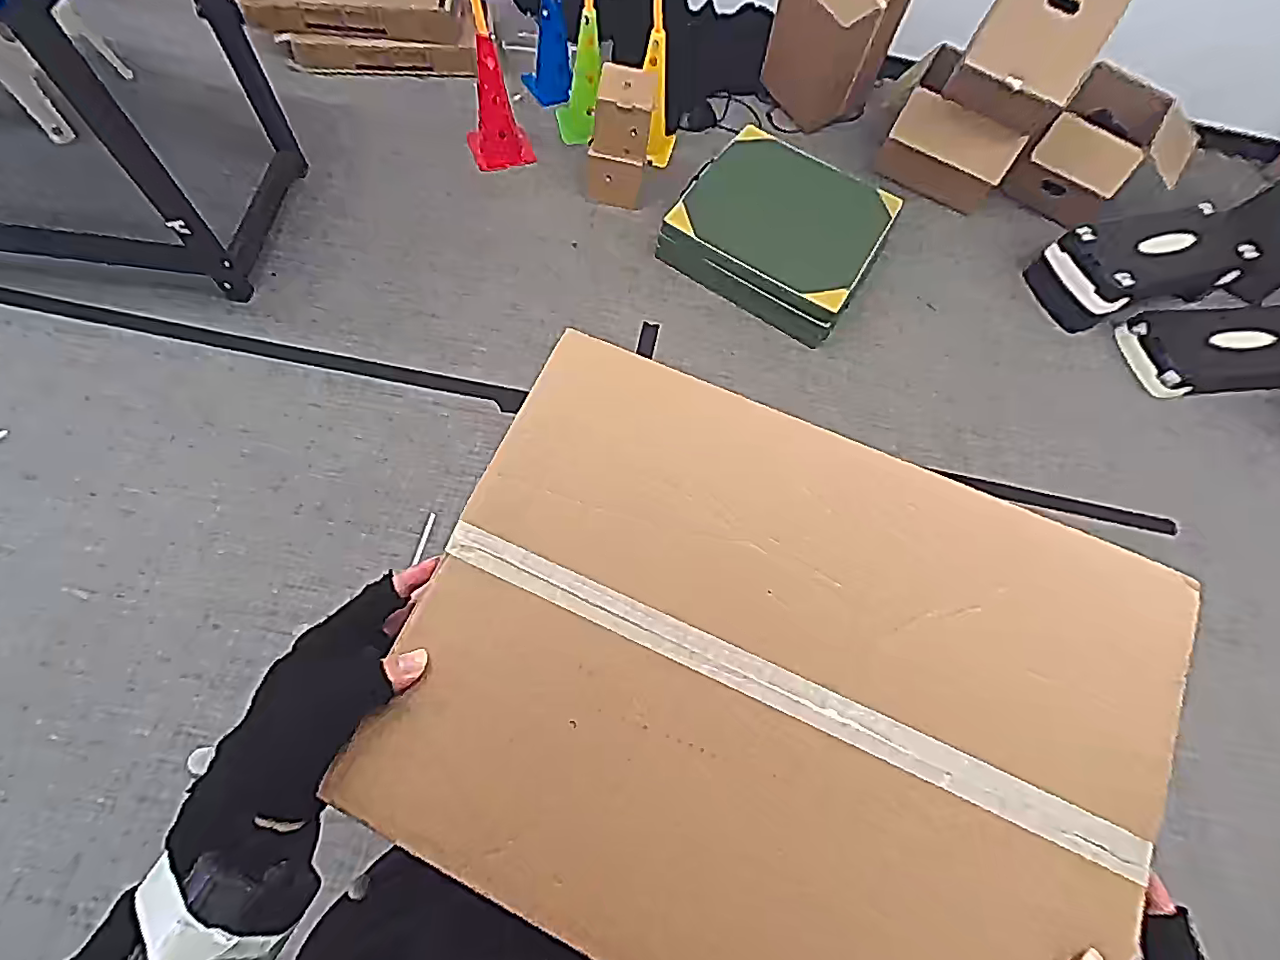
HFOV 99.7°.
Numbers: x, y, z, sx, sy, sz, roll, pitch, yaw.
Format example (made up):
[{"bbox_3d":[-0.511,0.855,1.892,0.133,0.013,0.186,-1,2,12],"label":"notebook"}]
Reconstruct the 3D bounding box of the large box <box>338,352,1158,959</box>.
[{"bbox_3d":[0.071,0.157,0.457,0.408,0.320,0.320,24,77,8],"label":"large box"}]
